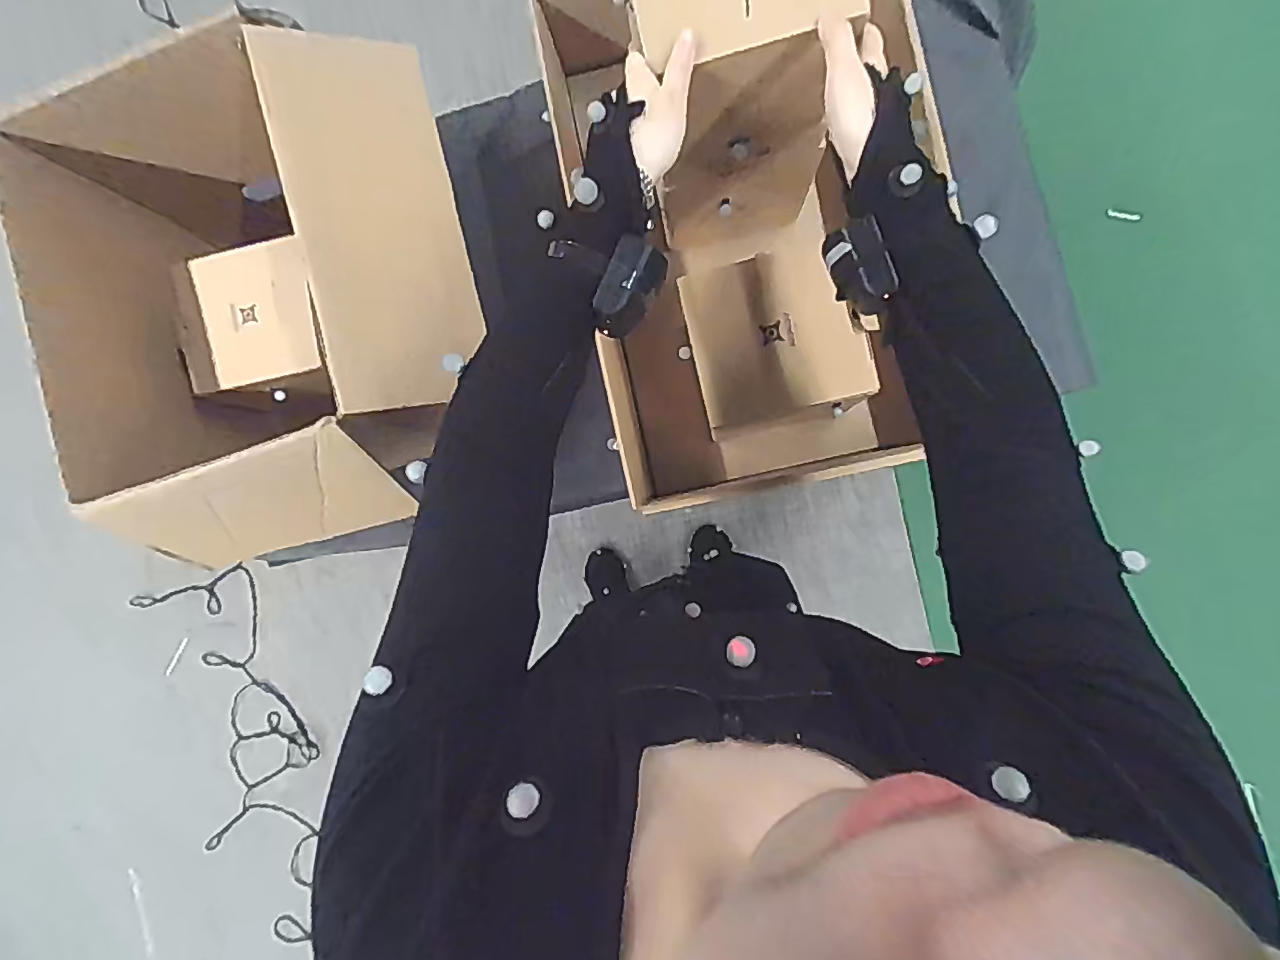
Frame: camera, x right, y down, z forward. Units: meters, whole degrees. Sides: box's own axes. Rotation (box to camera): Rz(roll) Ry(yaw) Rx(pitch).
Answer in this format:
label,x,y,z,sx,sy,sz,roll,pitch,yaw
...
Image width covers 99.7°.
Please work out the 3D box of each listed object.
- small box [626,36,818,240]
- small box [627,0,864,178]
label,x,y,z,sx,sy,sz,roll,pitch,yaw
small box,0.094,-0.411,0.642,0.179,0.176,0.168,-12,92,7
small box,0.076,-0.409,0.478,0.168,0.176,0.179,-11,93,6
